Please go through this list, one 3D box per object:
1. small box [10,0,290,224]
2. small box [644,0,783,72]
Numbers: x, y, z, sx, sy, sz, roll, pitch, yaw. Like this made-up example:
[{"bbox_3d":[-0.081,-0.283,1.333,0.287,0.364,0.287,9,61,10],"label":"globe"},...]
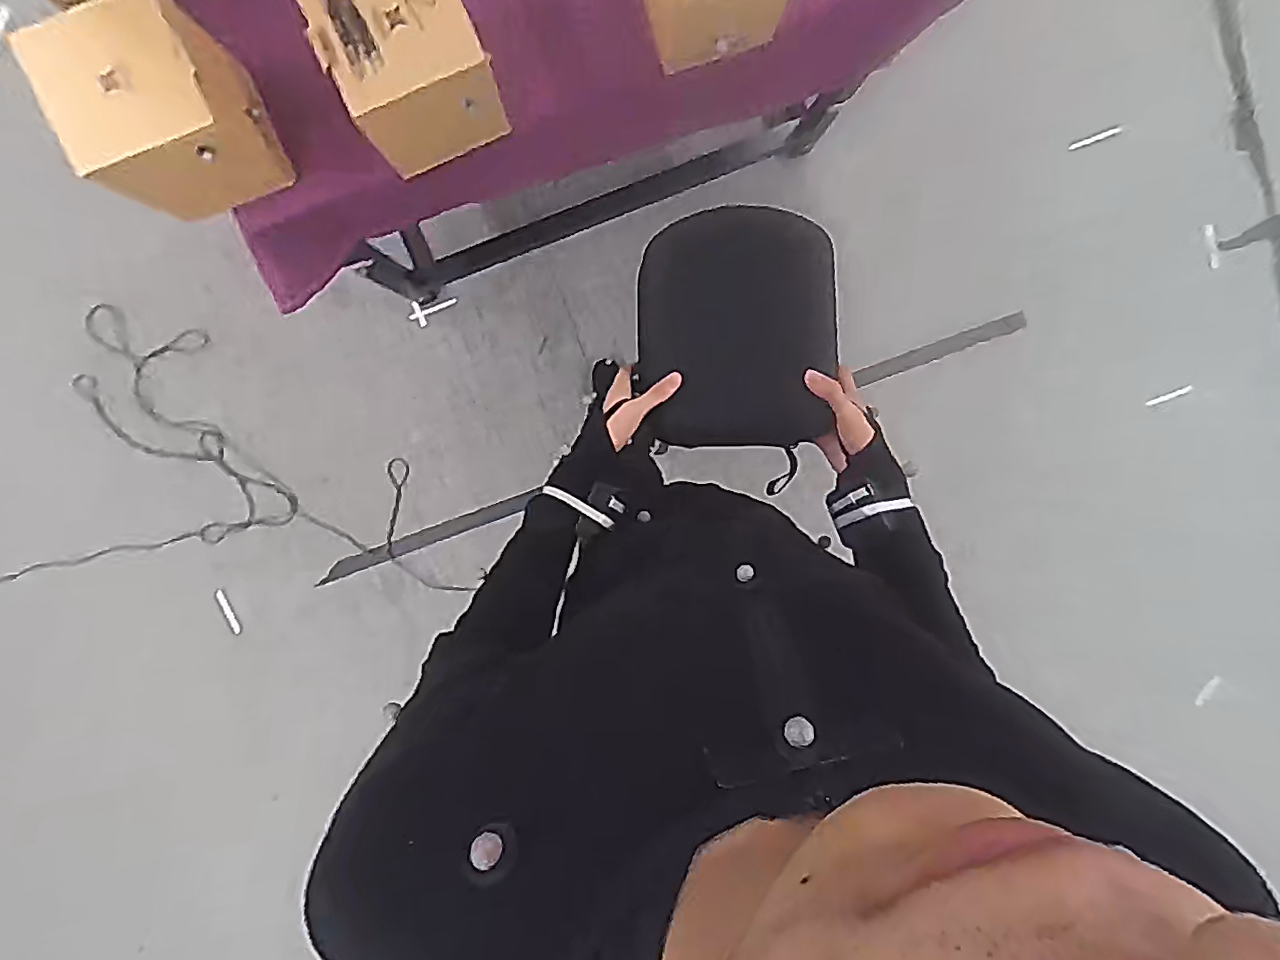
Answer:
[{"bbox_3d":[-0.611,-0.465,0.703,0.179,0.176,0.168,-23,98,-1],"label":"small box"},{"bbox_3d":[0.089,-0.693,0.708,0.168,0.176,0.179,-18,99,0],"label":"small box"}]
